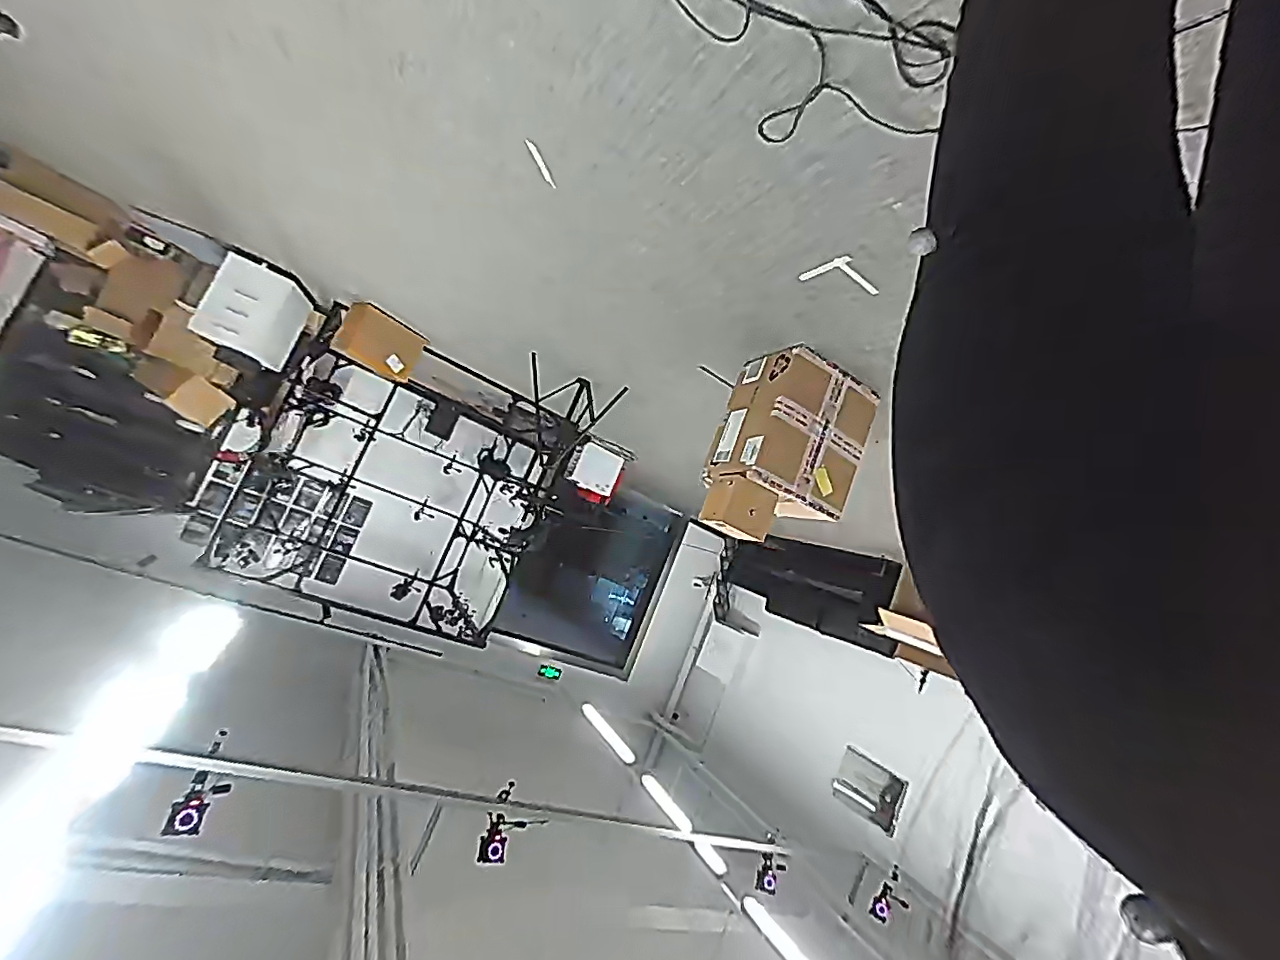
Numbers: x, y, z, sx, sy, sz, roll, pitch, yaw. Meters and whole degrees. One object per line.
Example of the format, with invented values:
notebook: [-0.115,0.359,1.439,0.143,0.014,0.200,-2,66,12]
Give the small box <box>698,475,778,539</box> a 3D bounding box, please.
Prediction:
small box: [0.333,0.088,1.836,0.179,0.176,0.168,26,169,-19]
